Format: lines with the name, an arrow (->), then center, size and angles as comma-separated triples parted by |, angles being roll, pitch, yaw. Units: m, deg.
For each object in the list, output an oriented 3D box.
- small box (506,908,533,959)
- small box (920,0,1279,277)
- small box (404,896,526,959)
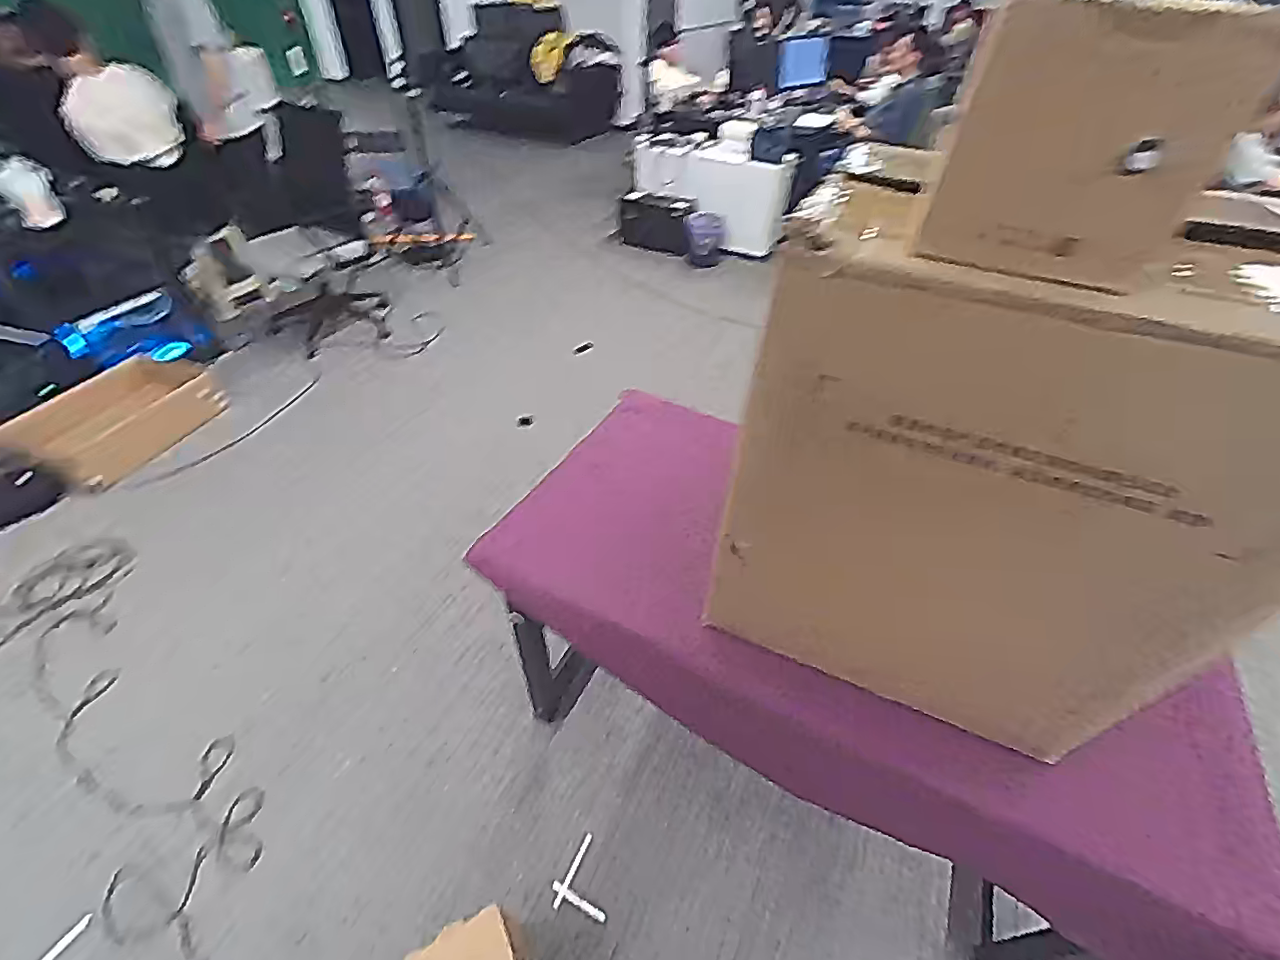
small box -> -0.288, 0.979, 1.038 | 0.168, 0.176, 0.179 | -22, 49, -23
small box -> 0.342, -0.282, 0.430 | 0.168, 0.176, 0.179 | 20, 46, 15
small box -> -0.282, 0.864, 0.920 | 0.168, 0.176, 0.179 | -20, 48, -21
